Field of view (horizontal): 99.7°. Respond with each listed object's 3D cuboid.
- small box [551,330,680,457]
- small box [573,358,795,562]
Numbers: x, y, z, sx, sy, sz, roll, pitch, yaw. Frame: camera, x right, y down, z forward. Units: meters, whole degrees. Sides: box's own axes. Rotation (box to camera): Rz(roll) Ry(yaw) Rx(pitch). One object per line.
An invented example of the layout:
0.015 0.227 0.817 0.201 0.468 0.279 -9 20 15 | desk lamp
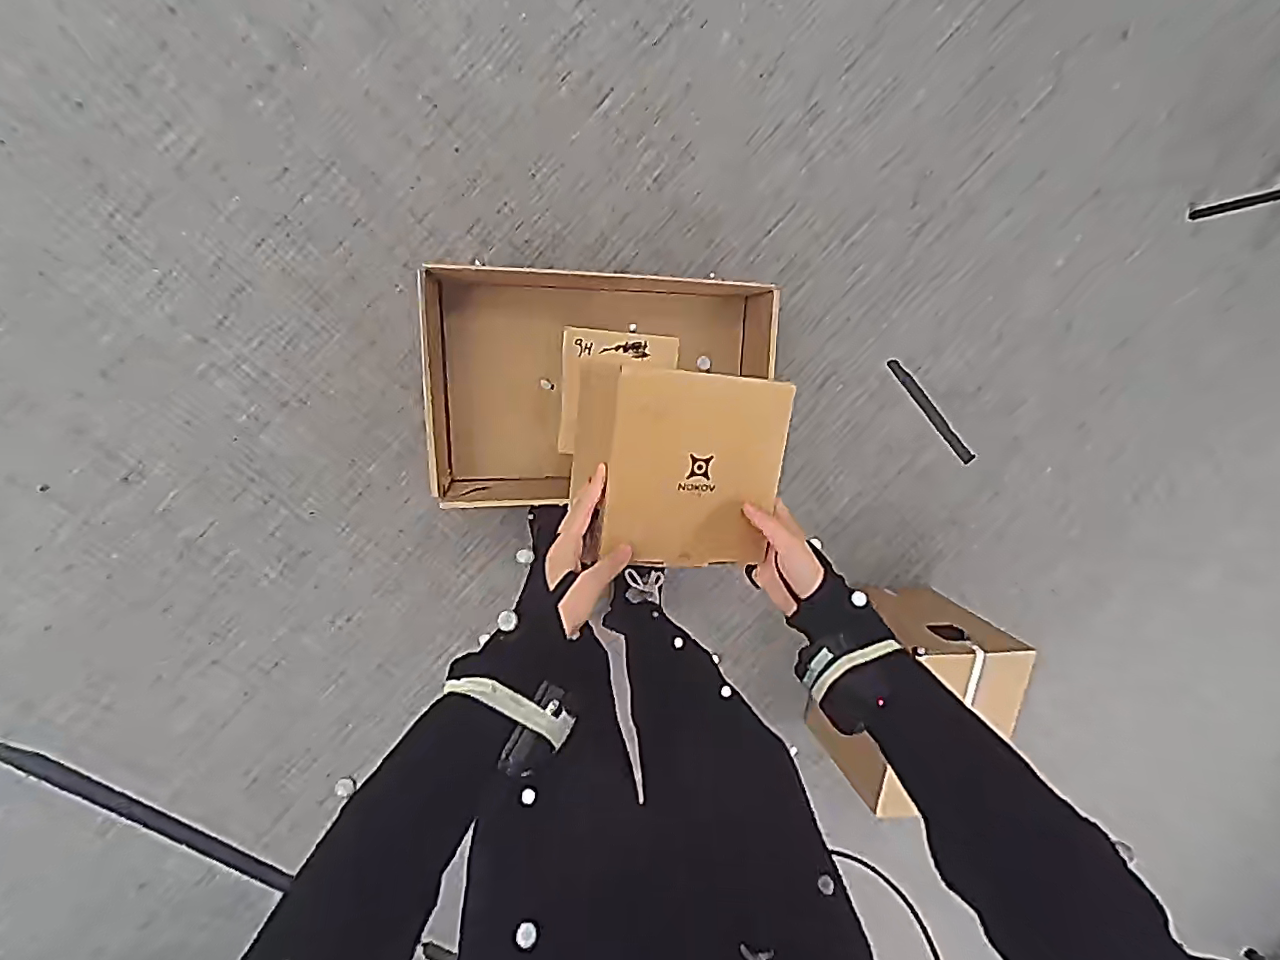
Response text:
-0.048 -0.134 0.839 0.168 0.176 0.179 2 103 -14 | small box
0.031 -0.028 0.556 0.168 0.176 0.179 2 104 -18 | small box
